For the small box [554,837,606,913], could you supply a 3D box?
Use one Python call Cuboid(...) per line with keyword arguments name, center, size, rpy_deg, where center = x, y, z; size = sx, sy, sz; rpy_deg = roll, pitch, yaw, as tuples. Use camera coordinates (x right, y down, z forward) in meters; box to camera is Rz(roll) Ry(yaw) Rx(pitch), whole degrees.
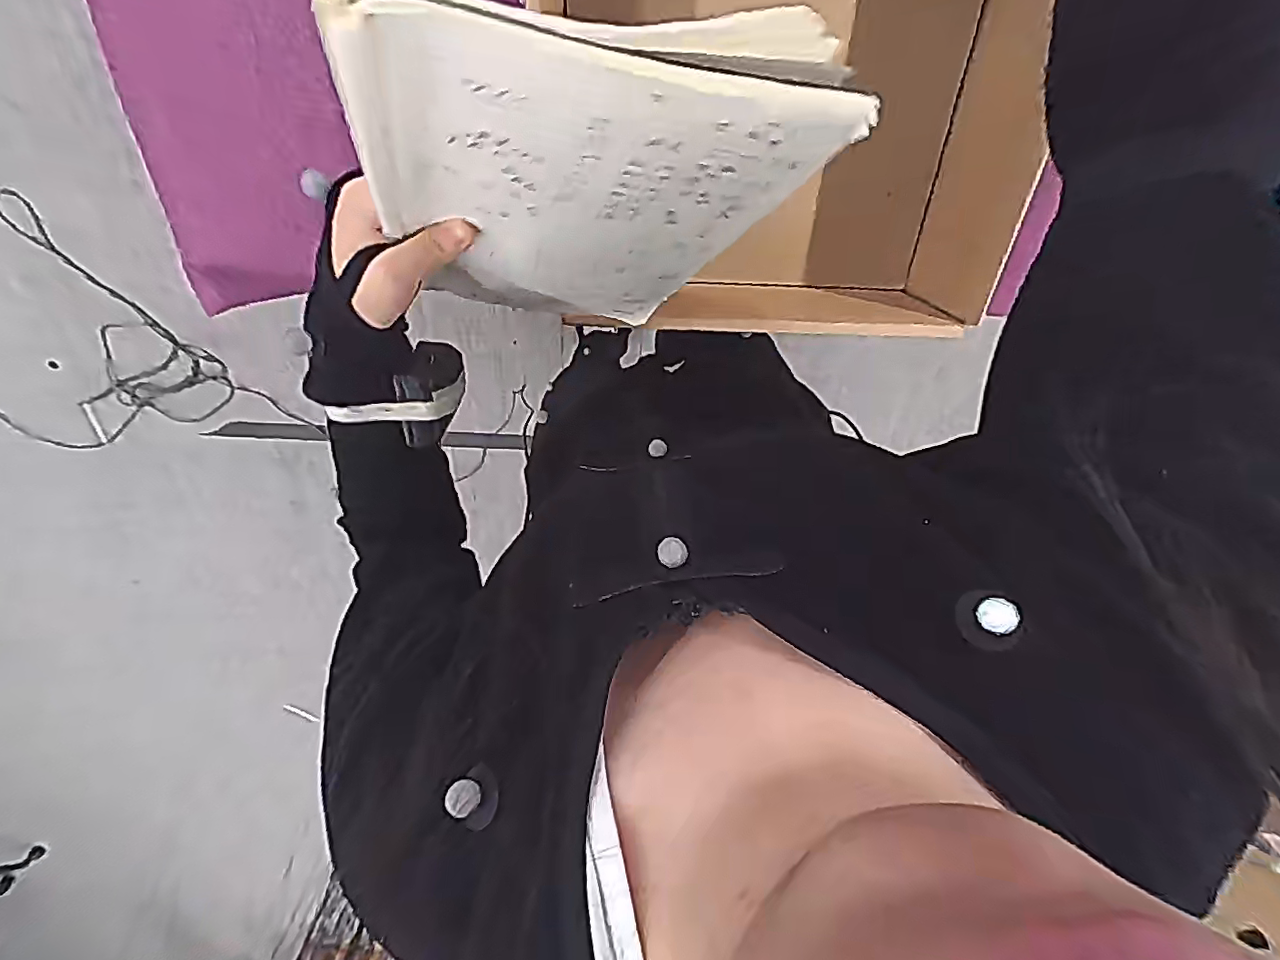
Cuboid(name="small box", center=(-0.208, 1.369, 1.880), size=(0.168, 0.176, 0.179), rpy_deg=(4, 121, -5))
